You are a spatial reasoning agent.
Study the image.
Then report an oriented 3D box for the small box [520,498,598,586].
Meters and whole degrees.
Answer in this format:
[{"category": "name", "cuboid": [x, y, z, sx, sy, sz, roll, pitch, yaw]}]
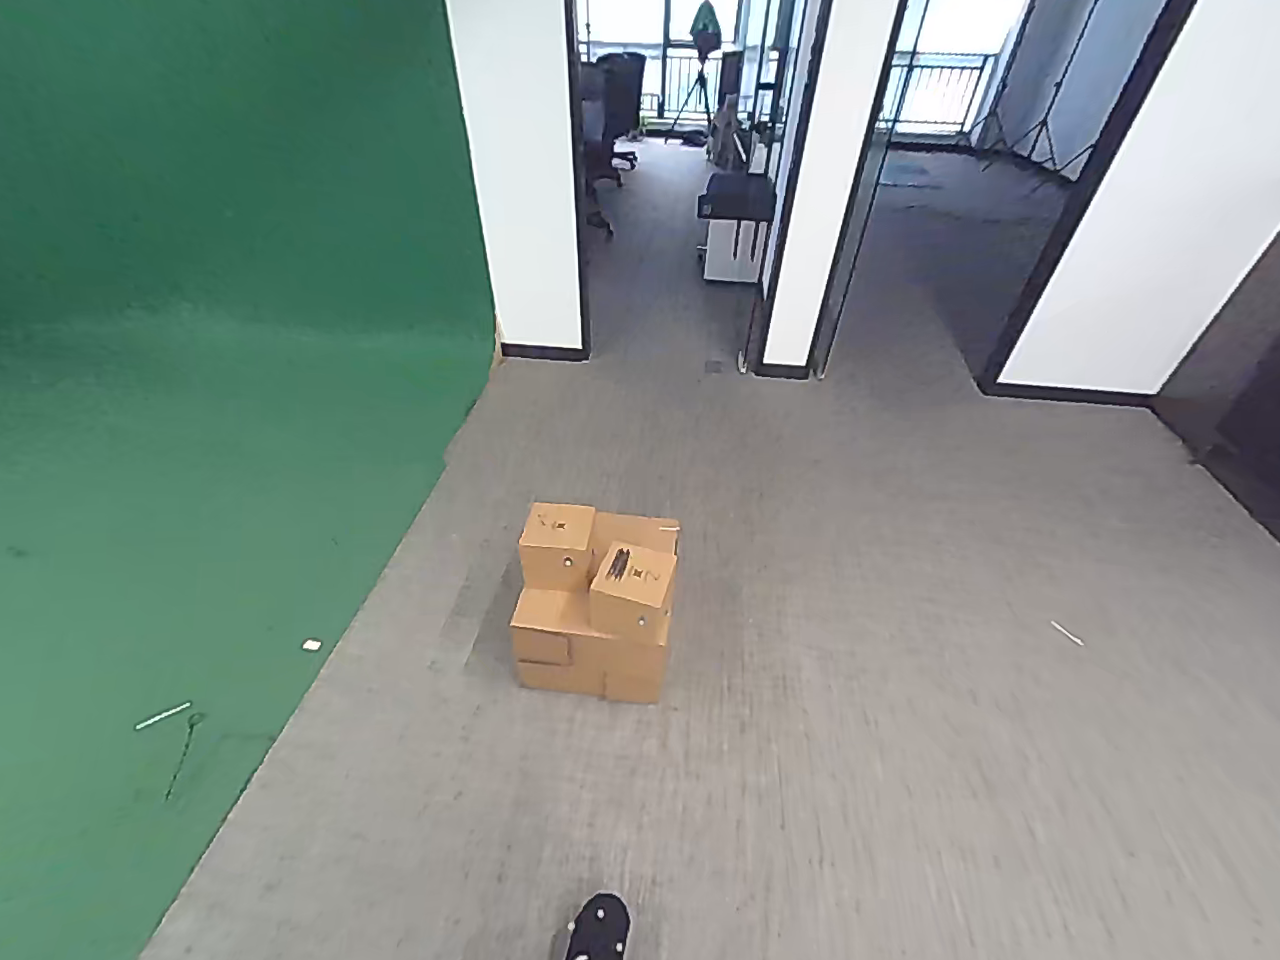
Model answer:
[{"category": "small box", "cuboid": [-0.211, 0.170, 1.469, 0.179, 0.176, 0.168, 5, 40, 4]}]
